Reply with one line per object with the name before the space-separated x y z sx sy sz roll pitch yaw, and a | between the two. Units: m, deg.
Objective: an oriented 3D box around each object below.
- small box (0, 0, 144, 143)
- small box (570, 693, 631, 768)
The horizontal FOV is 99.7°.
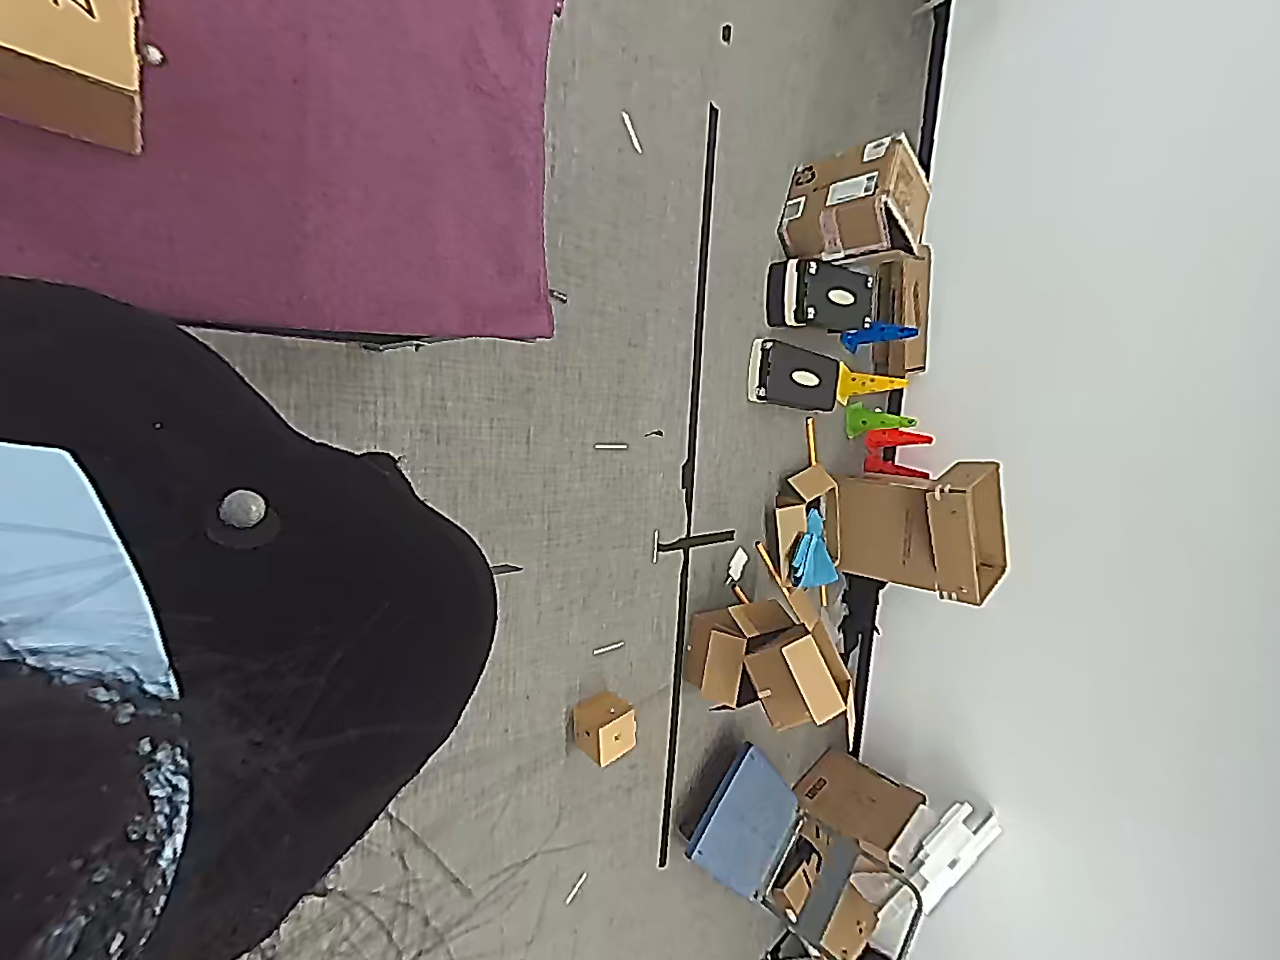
small box | -0.515 -0.405 0.429 0.179 0.176 0.168 0 98 -44
small box | -0.154 0.946 2.058 0.179 0.176 0.168 -13 106 -42
